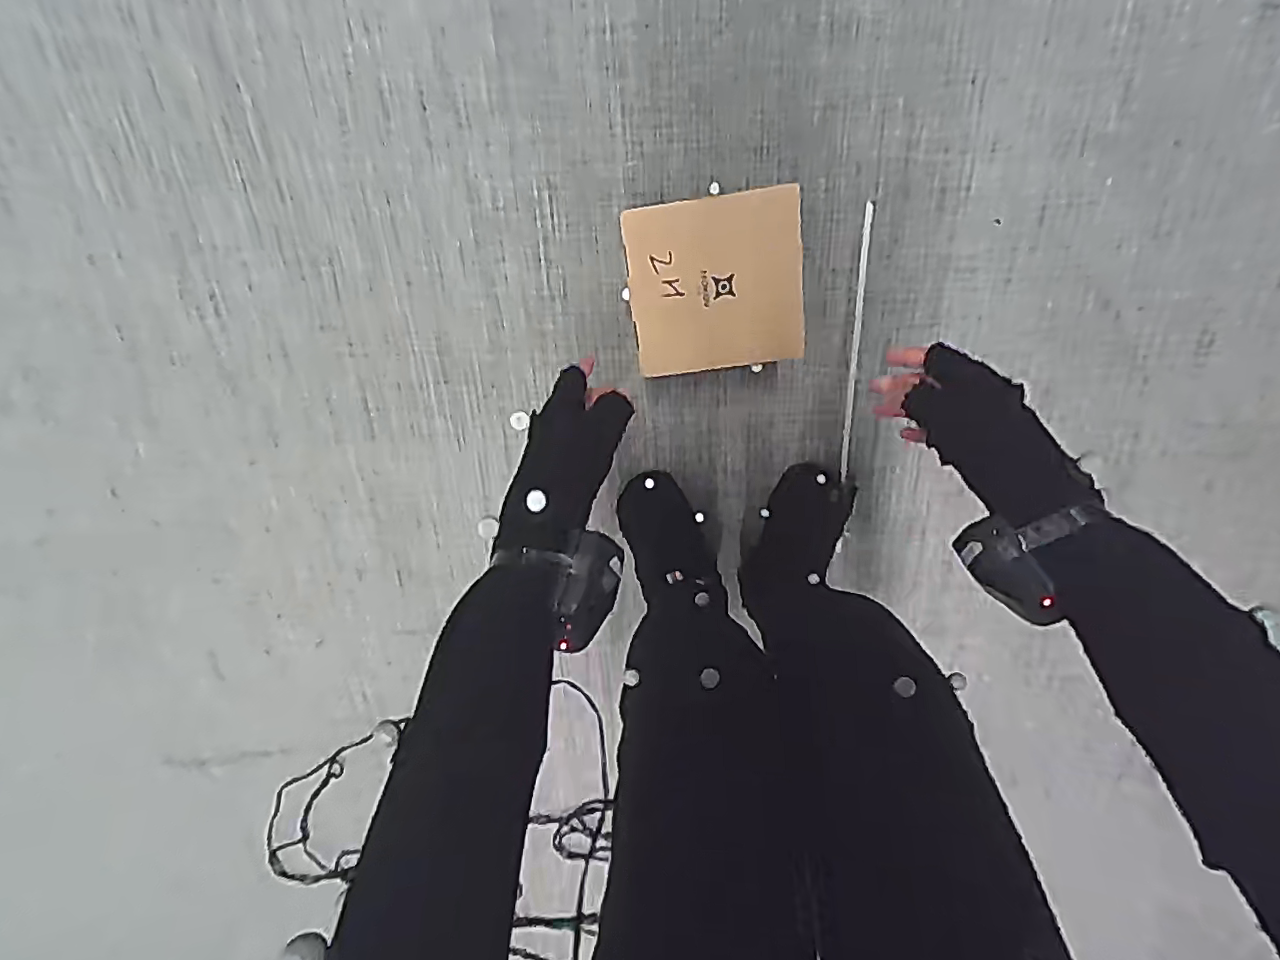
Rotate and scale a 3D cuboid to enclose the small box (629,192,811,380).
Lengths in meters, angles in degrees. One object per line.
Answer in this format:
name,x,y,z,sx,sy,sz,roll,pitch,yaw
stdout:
small box,0.087,-0.220,0.621,0.179,0.176,0.168,-6,110,6
